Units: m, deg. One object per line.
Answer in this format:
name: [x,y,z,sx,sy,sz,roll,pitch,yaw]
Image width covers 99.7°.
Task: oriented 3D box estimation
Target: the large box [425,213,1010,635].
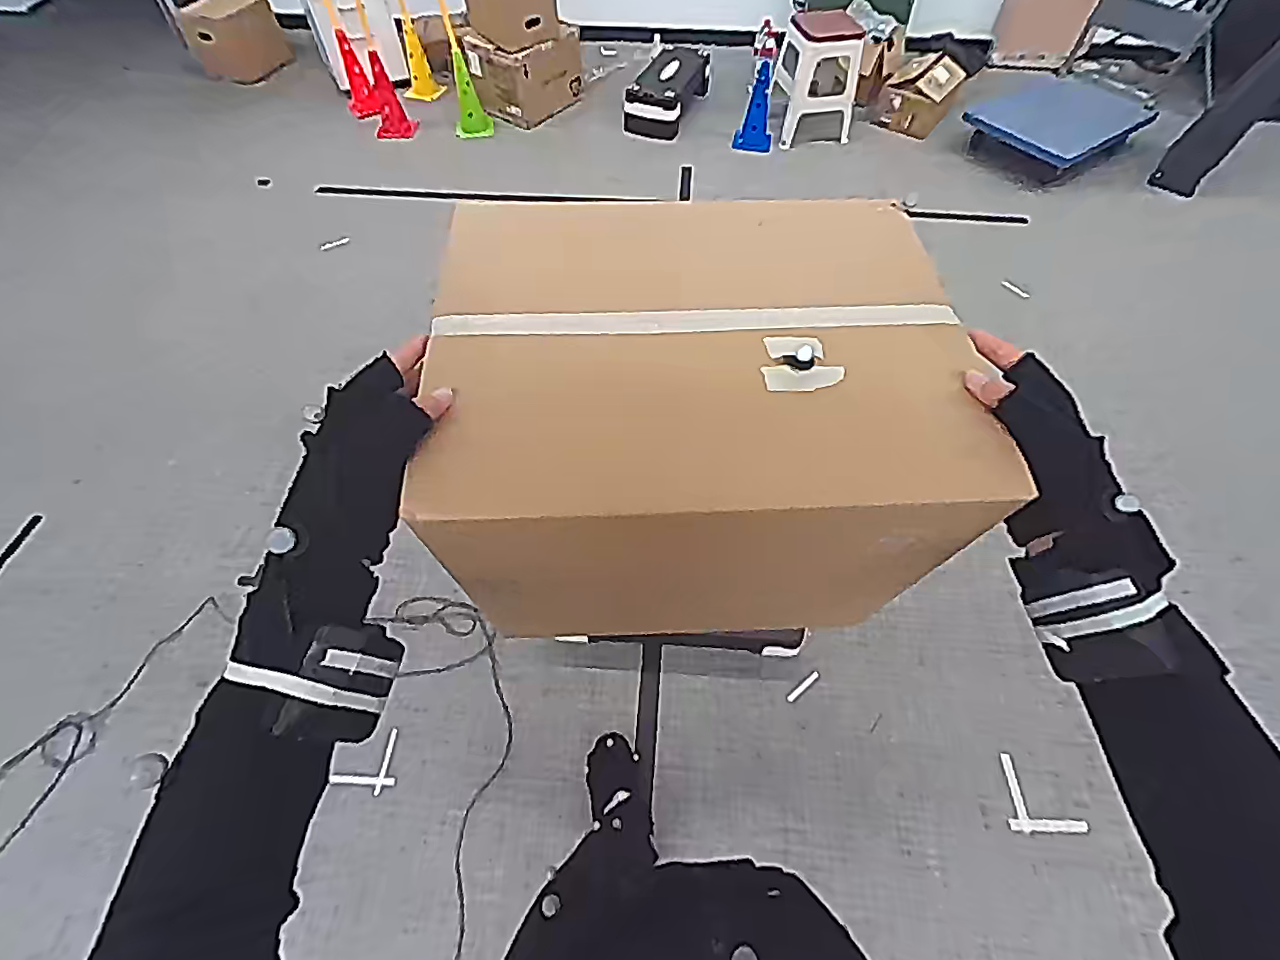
large box: [0.041,-0.042,0.557,0.408,0.320,0.320,-2,61,-3]
